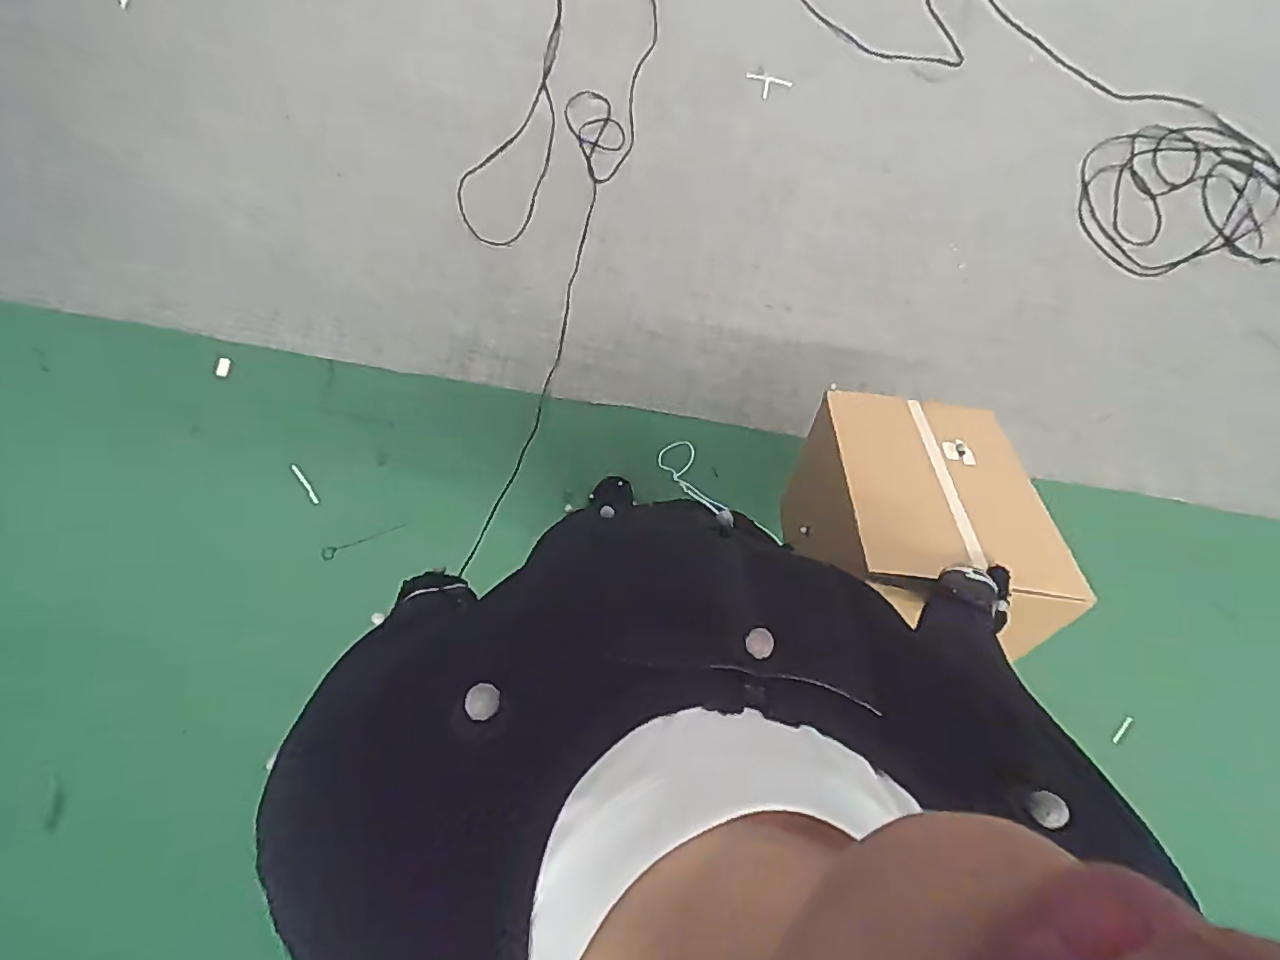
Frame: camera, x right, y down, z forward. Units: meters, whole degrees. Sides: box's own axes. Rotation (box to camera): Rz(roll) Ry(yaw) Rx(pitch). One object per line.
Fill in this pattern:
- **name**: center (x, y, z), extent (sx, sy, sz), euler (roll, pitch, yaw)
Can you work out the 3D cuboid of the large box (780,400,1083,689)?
- **large box**: center (0.459, 0.113, 0.978), extent (0.320, 0.320, 0.408), euler (8, 46, -1)
